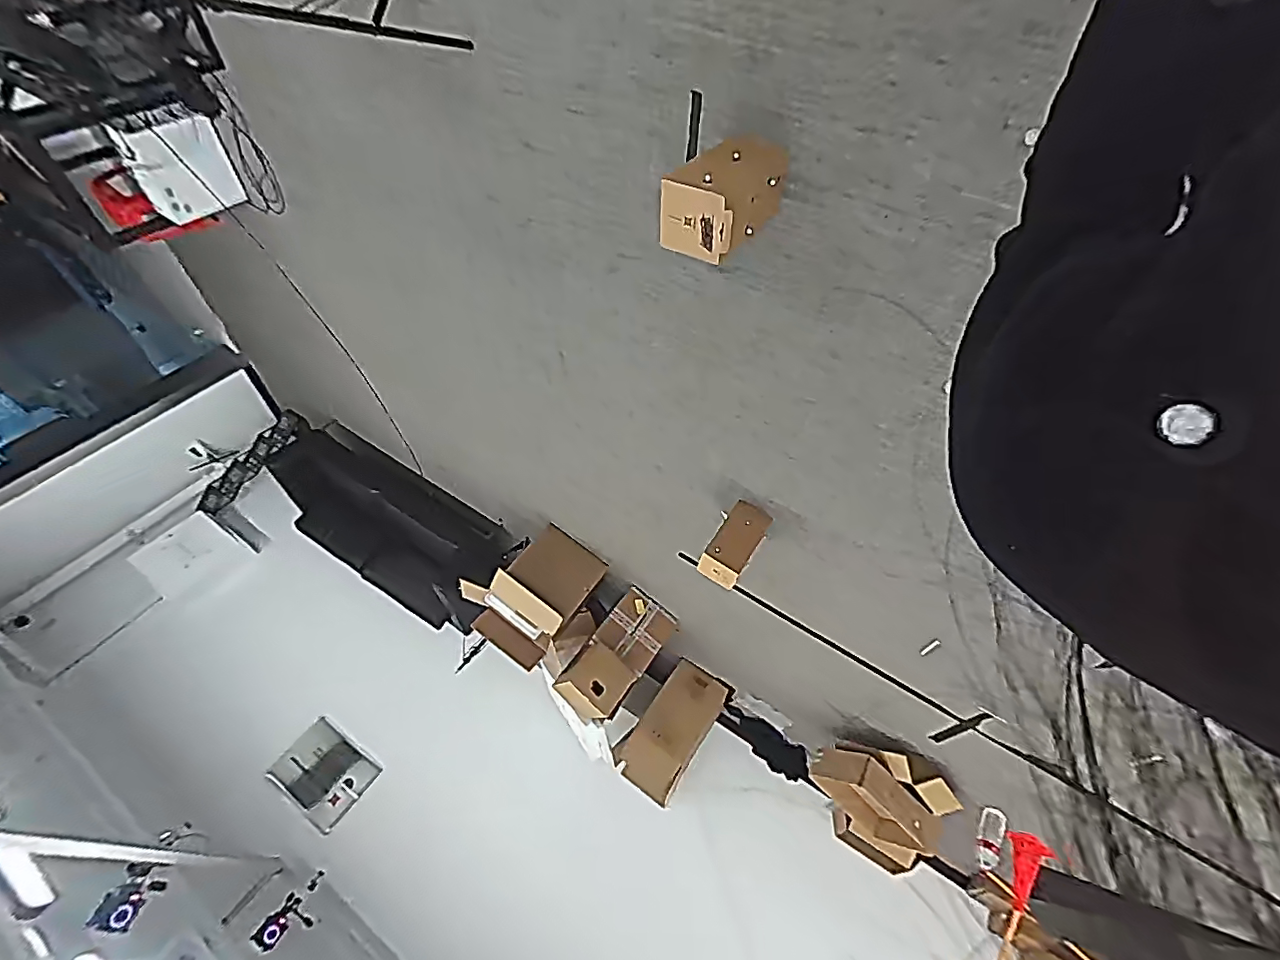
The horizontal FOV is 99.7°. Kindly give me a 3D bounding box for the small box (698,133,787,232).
[{"bbox_3d":[0.262,-0.781,1.413,0.179,0.176,0.168,27,145,22],"label":"small box"}]

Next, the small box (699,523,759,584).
[{"bbox_3d":[0.382,0.310,2.323,0.179,0.176,0.168,31,148,14],"label":"small box"}]

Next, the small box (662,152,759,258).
[{"bbox_3d":[0.171,-0.677,1.322,0.179,0.176,0.168,27,146,21],"label":"small box"}]
